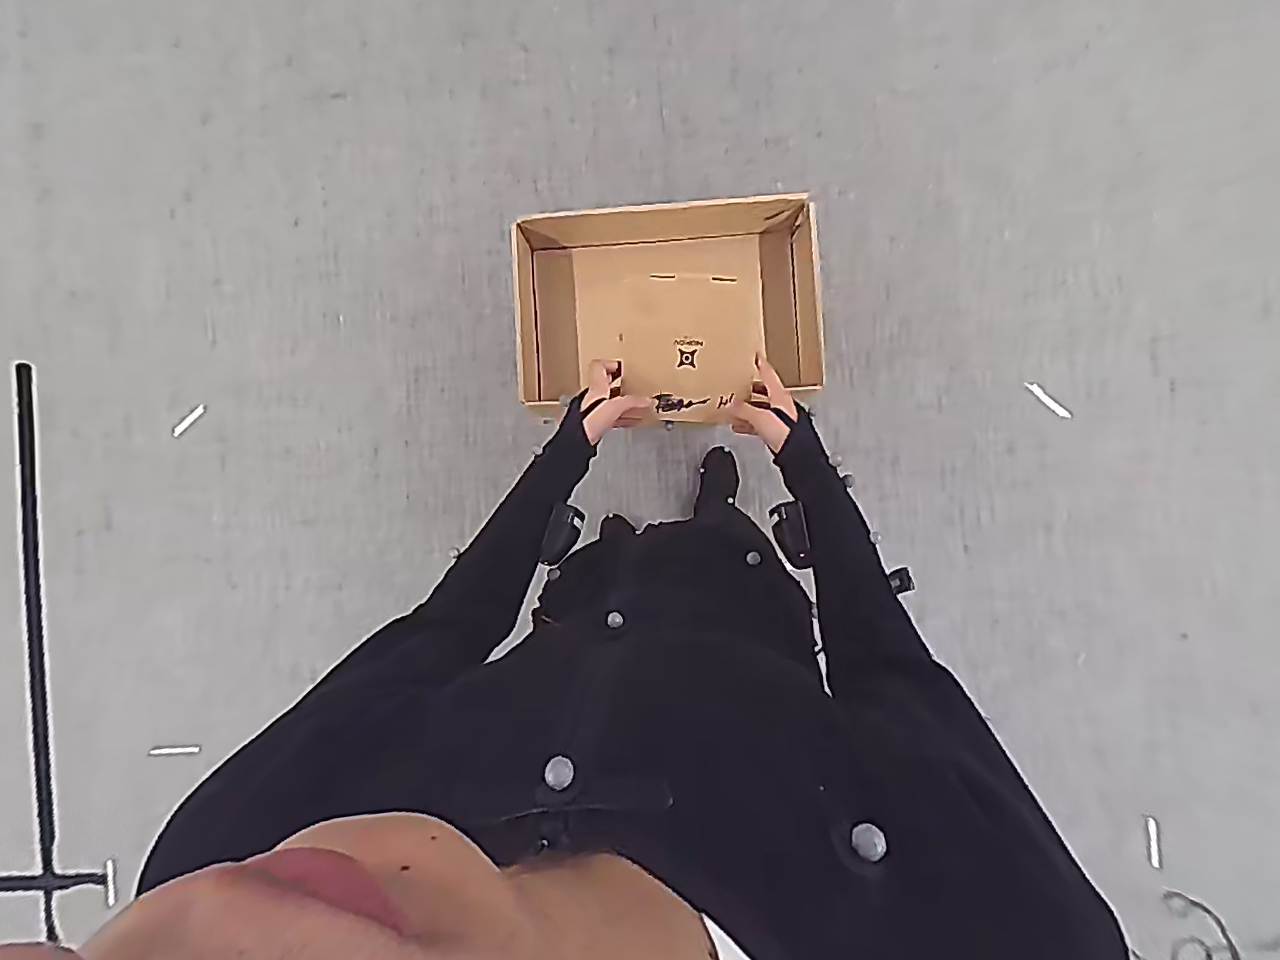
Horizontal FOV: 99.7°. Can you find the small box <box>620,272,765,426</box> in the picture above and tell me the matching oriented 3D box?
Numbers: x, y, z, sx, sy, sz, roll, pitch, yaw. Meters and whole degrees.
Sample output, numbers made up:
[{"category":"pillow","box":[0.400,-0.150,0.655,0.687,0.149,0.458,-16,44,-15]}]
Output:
[{"category":"small box","box":[0.067,-0.172,0.739,0.168,0.176,0.179,5,100,4]}]
